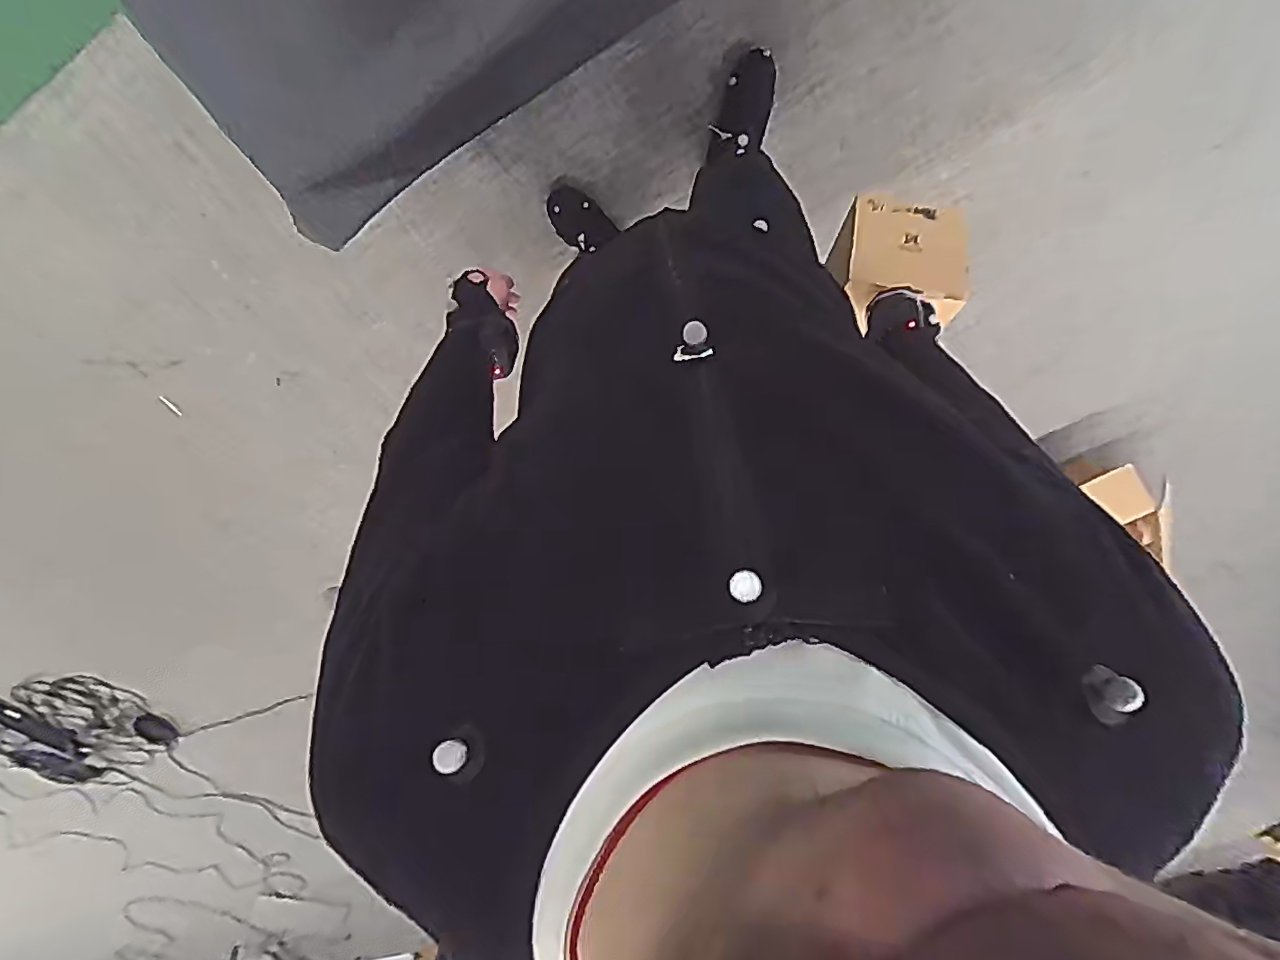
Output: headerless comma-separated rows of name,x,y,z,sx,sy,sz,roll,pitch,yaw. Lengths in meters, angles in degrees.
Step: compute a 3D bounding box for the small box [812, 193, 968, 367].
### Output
small box,0.384,-0.305,0.851,0.168,0.179,0.176,14,158,2
